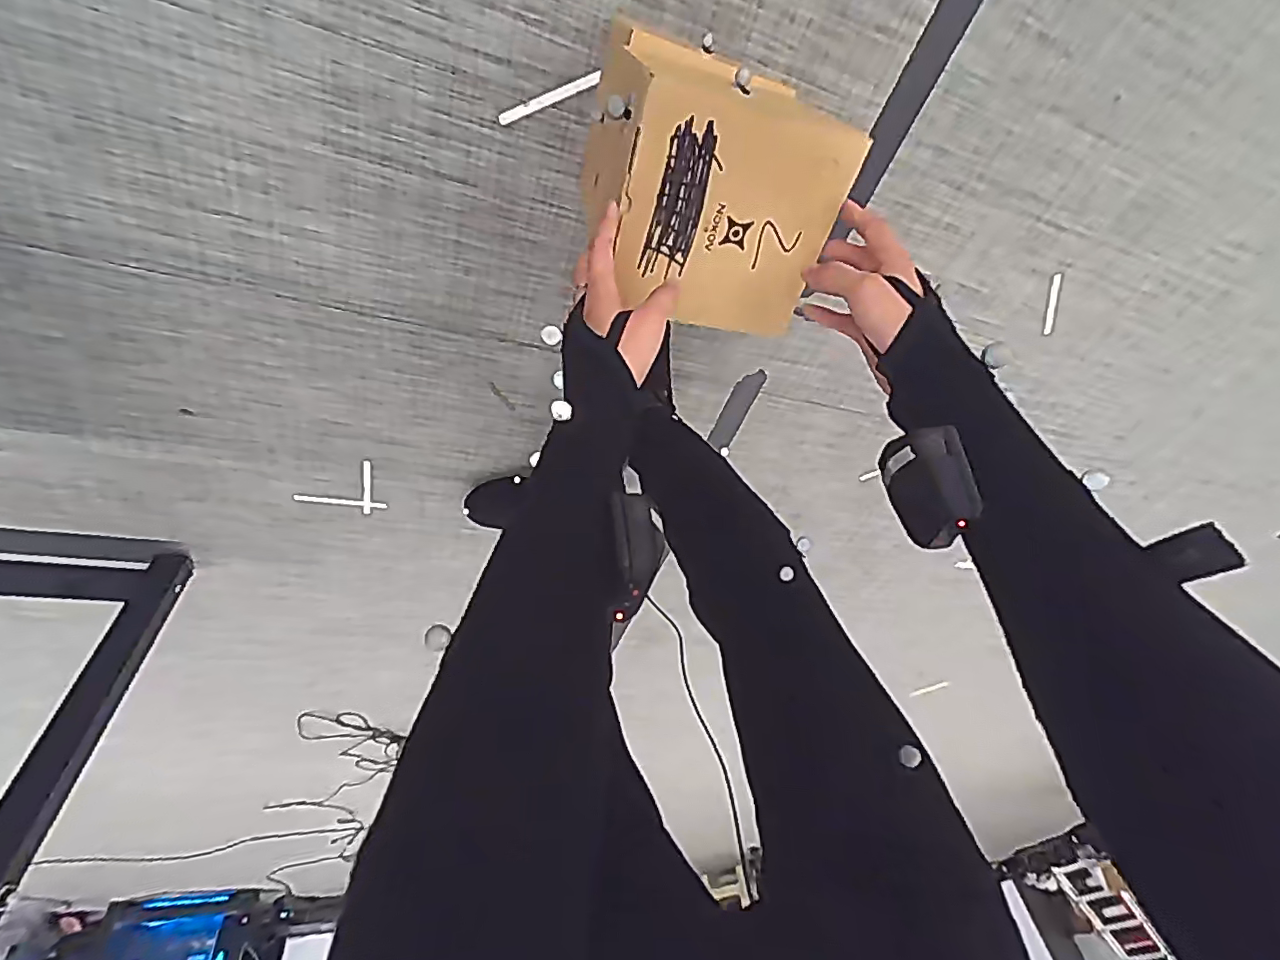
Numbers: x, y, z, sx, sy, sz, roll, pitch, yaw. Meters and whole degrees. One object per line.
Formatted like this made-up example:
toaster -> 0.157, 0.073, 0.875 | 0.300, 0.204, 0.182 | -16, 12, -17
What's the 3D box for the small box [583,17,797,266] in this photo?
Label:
small box -> 0.036, -0.370, 0.593 | 0.168, 0.176, 0.179 | 8, 132, -18
